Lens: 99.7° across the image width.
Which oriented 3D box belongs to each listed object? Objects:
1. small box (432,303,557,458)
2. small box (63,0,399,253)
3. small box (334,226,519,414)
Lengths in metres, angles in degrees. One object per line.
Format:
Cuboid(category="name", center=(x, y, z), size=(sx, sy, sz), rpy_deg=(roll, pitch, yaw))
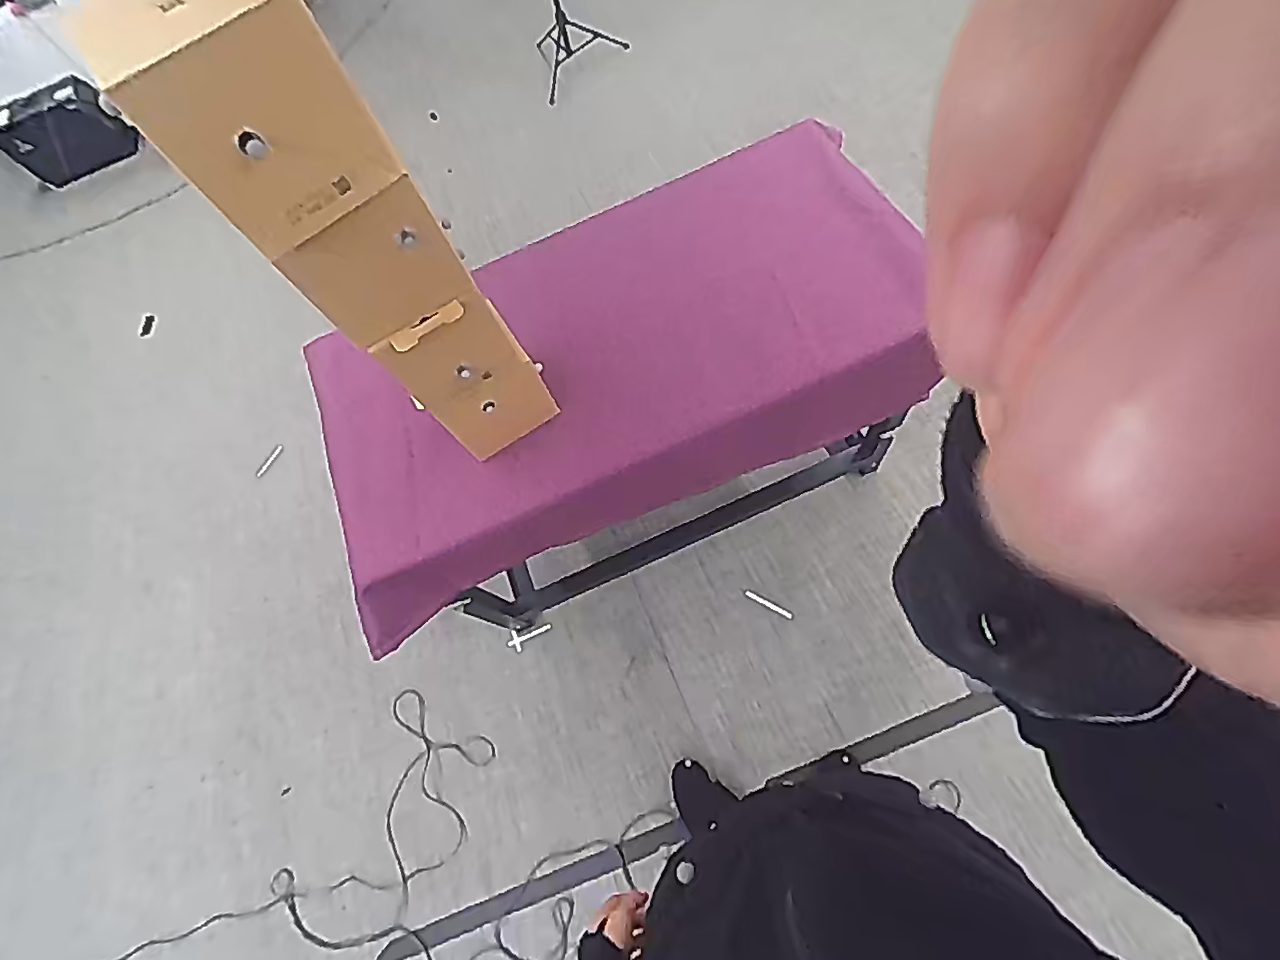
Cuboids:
Cuboid(category="small box", center=(-0.275, -0.168, 0.963), size=(0.179, 0.176, 0.168), rpy_deg=(-33, 65, -6))
Cuboid(category="small box", center=(-0.370, -0.351, 0.515), size=(0.168, 0.176, 0.179), rpy_deg=(-40, 65, -9))
Cuboid(category="small box", center=(-0.313, -0.234, 0.816), size=(0.168, 0.176, 0.179), rpy_deg=(-34, 65, -5))
